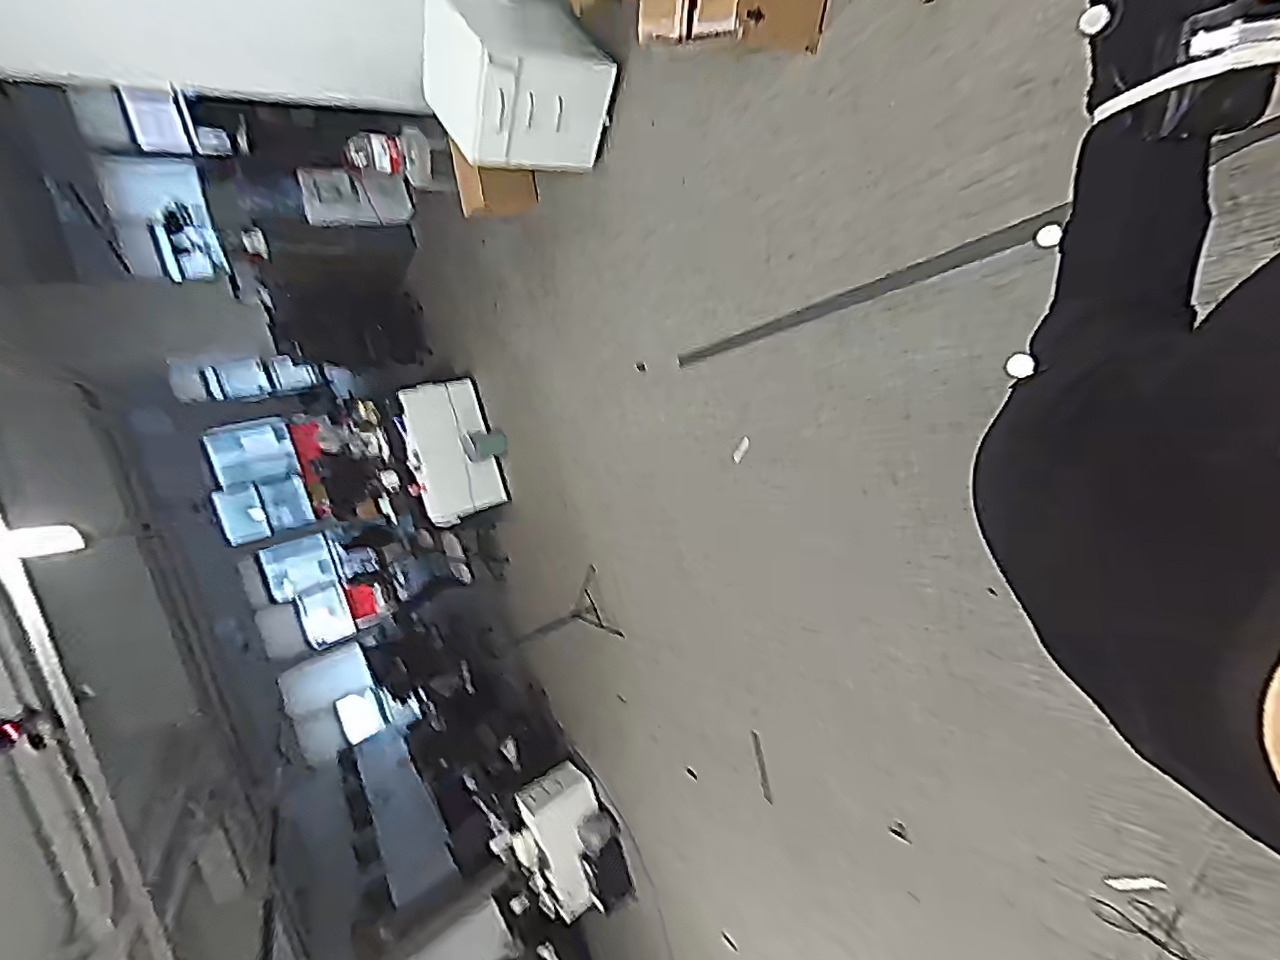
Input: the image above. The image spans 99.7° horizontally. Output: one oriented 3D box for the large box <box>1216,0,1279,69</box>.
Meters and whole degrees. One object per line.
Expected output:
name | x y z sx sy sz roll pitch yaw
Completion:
large box | 0.576 -0.462 0.238 0.408 0.320 0.320 11 118 50
